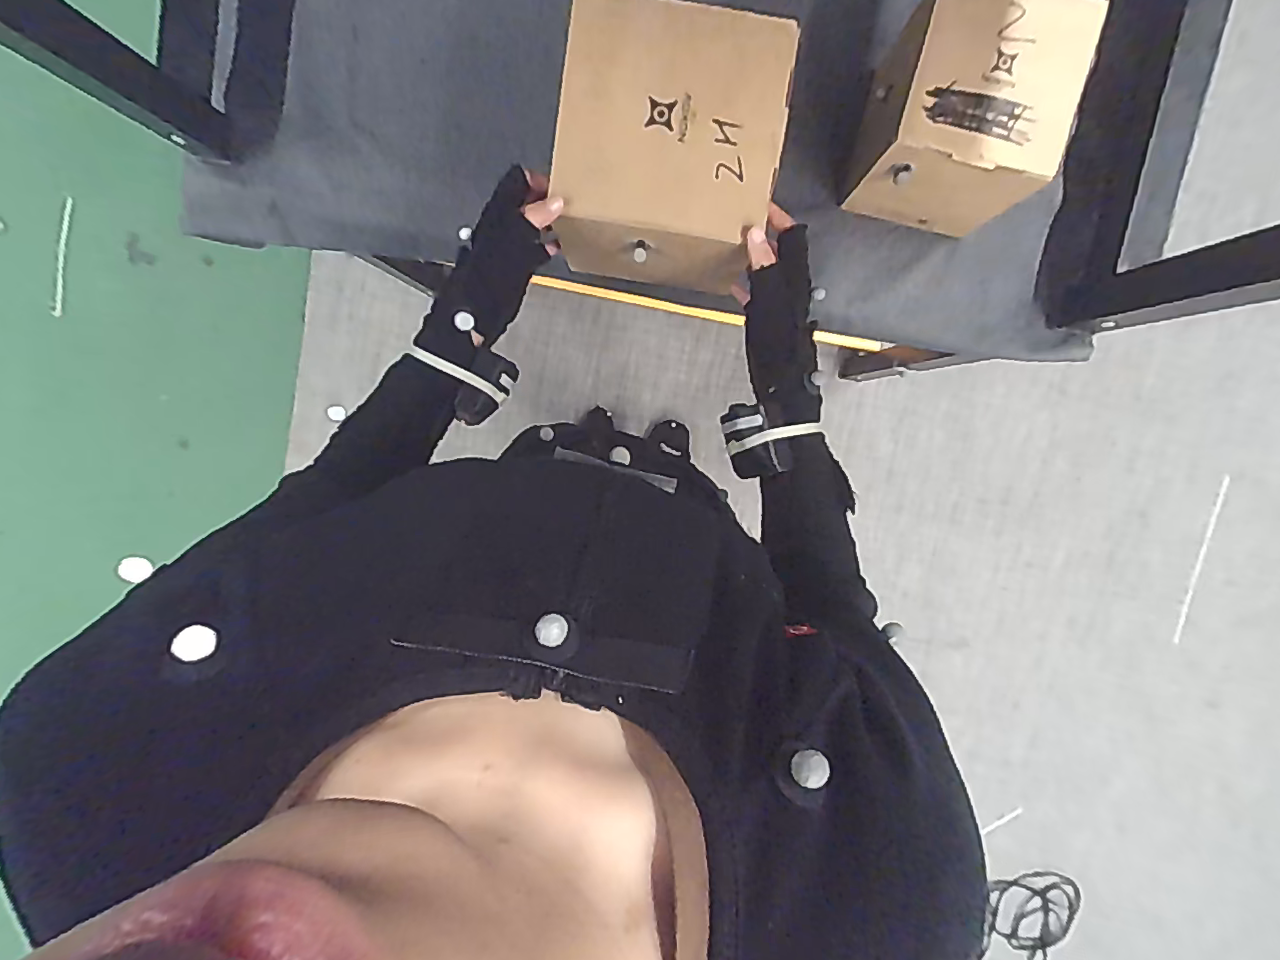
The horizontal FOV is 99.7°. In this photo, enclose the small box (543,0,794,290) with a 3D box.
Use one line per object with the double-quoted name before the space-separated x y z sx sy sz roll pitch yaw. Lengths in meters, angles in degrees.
"small box" 0.021 -0.287 0.501 0.179 0.176 0.168 9 97 -1
